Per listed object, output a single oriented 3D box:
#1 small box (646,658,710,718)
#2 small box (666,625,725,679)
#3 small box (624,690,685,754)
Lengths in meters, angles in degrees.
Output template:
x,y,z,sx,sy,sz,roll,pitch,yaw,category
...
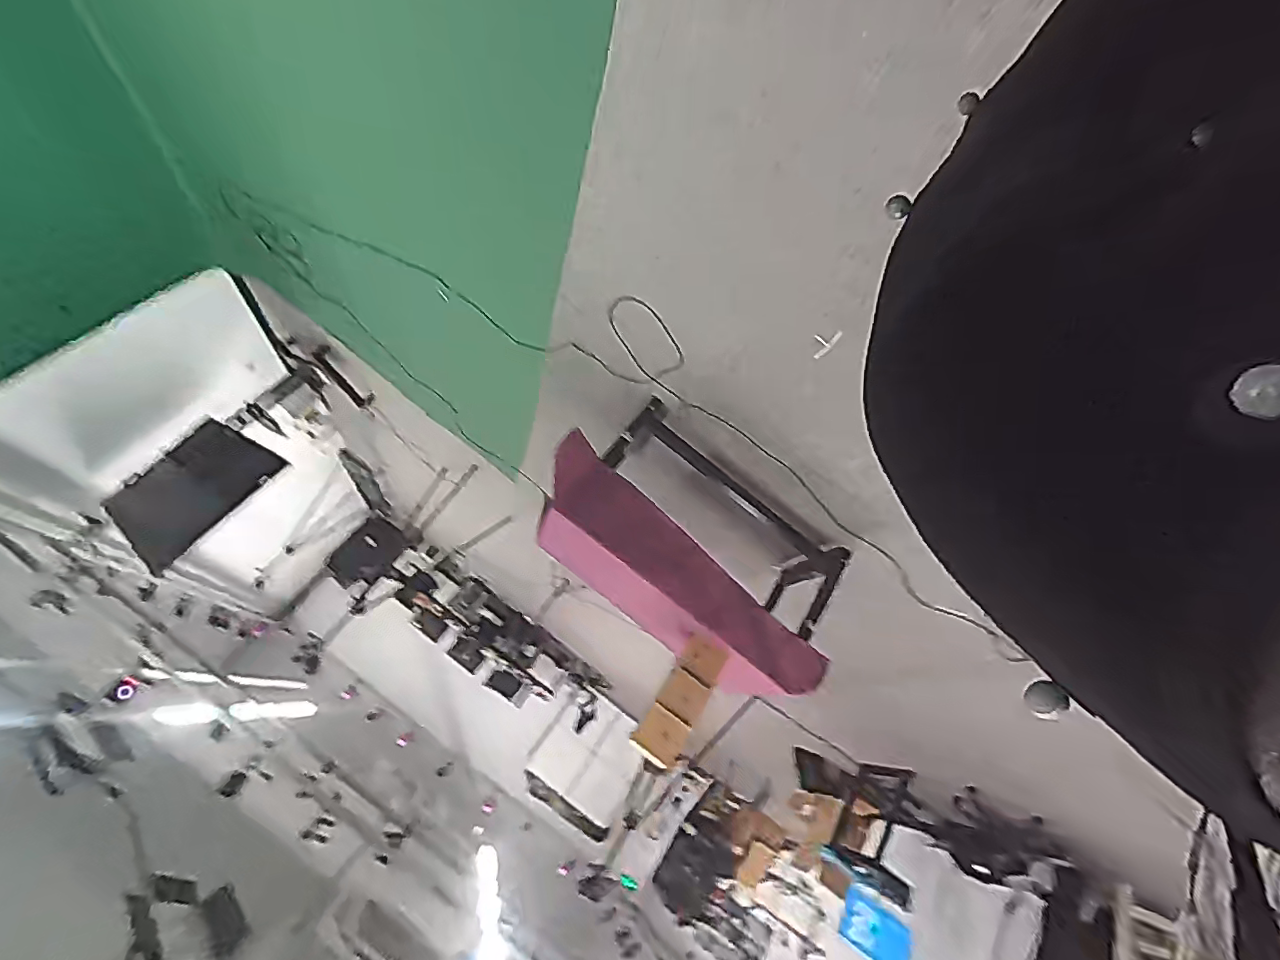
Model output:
x,y,z,sx,sy,sz,roll,pitch,yaw,category
0.153,0.843,2.202,0.179,0.176,0.168,36,154,6,small box
0.237,0.736,2.296,0.168,0.176,0.179,37,155,6,small box
0.057,0.947,2.121,0.168,0.176,0.179,35,154,10,small box
